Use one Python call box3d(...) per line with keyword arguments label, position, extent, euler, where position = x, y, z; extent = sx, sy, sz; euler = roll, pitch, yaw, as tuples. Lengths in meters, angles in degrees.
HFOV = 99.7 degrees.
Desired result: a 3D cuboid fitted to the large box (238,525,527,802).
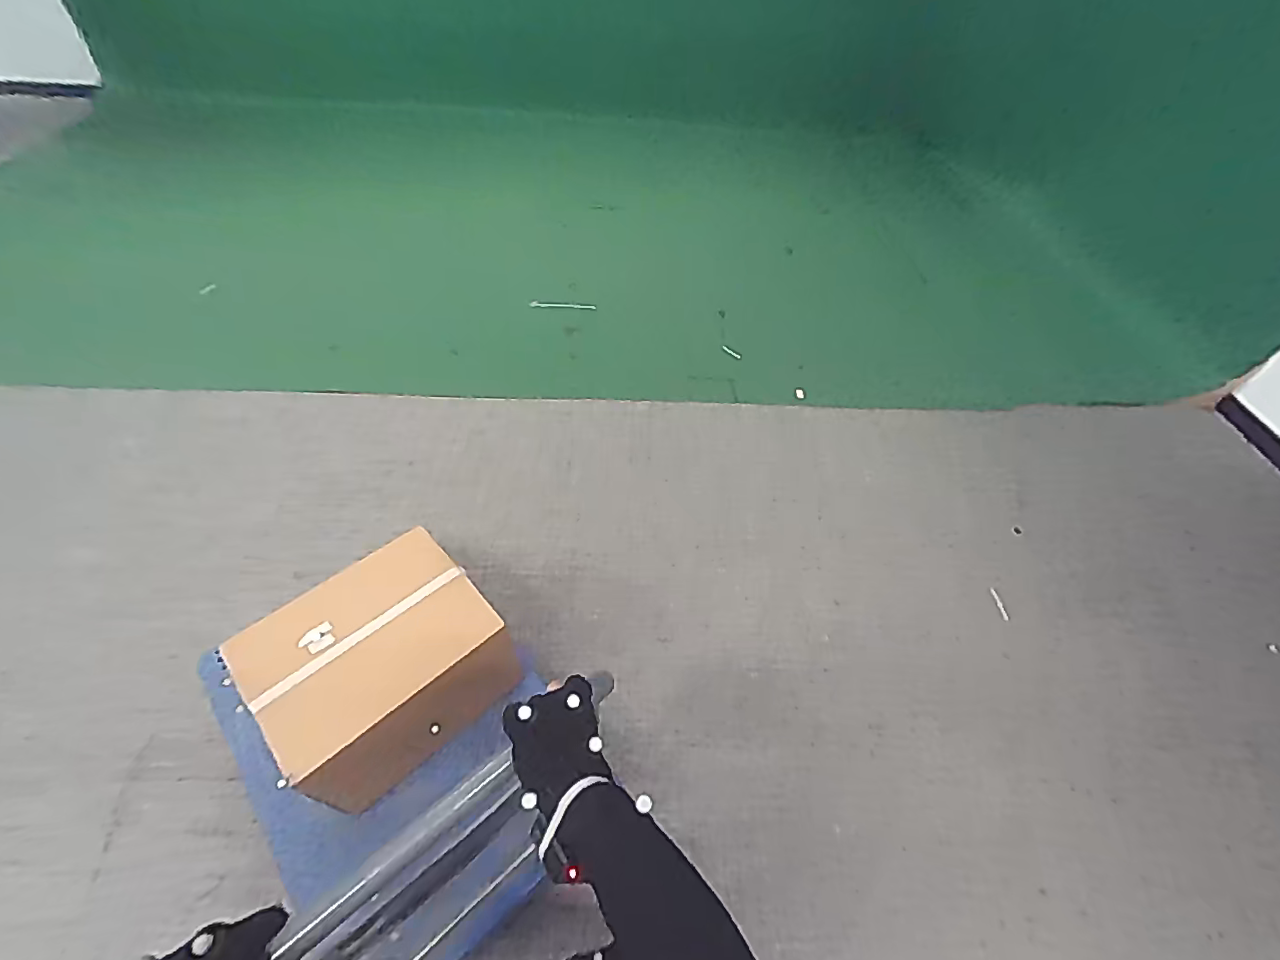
box3d(label="large box", position=(-0.502, 0.378, 1.138), extent=(0.408, 0.320, 0.320), euler=(-36, 61, -27))
